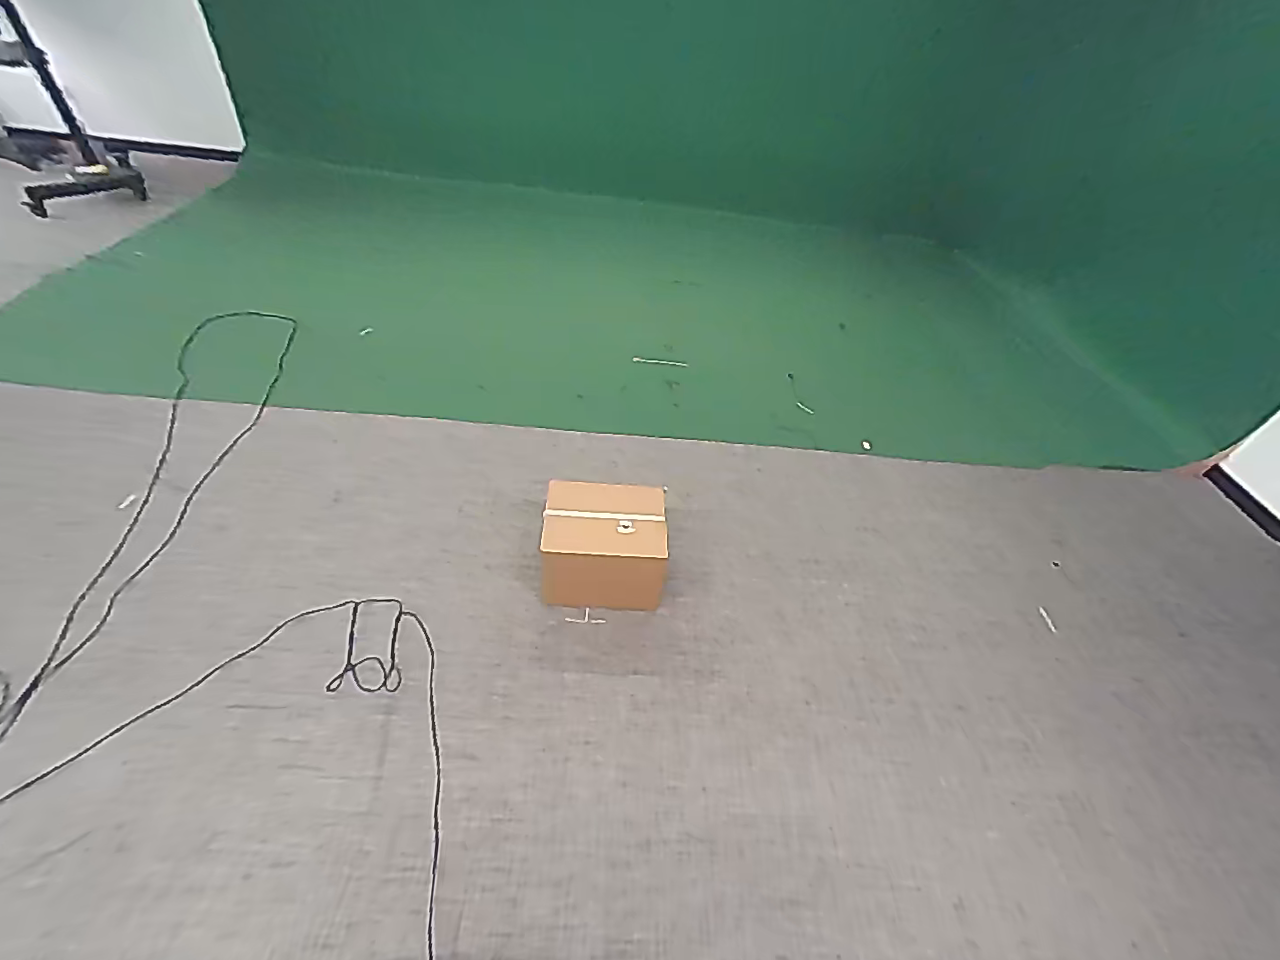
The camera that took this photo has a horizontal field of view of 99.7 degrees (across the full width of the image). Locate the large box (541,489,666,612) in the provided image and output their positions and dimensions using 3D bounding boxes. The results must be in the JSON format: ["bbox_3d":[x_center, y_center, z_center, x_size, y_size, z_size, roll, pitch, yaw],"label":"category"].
[{"bbox_3d":[-0.138,0.252,1.907,0.408,0.320,0.320,3,44,-6],"label":"large box"}]
